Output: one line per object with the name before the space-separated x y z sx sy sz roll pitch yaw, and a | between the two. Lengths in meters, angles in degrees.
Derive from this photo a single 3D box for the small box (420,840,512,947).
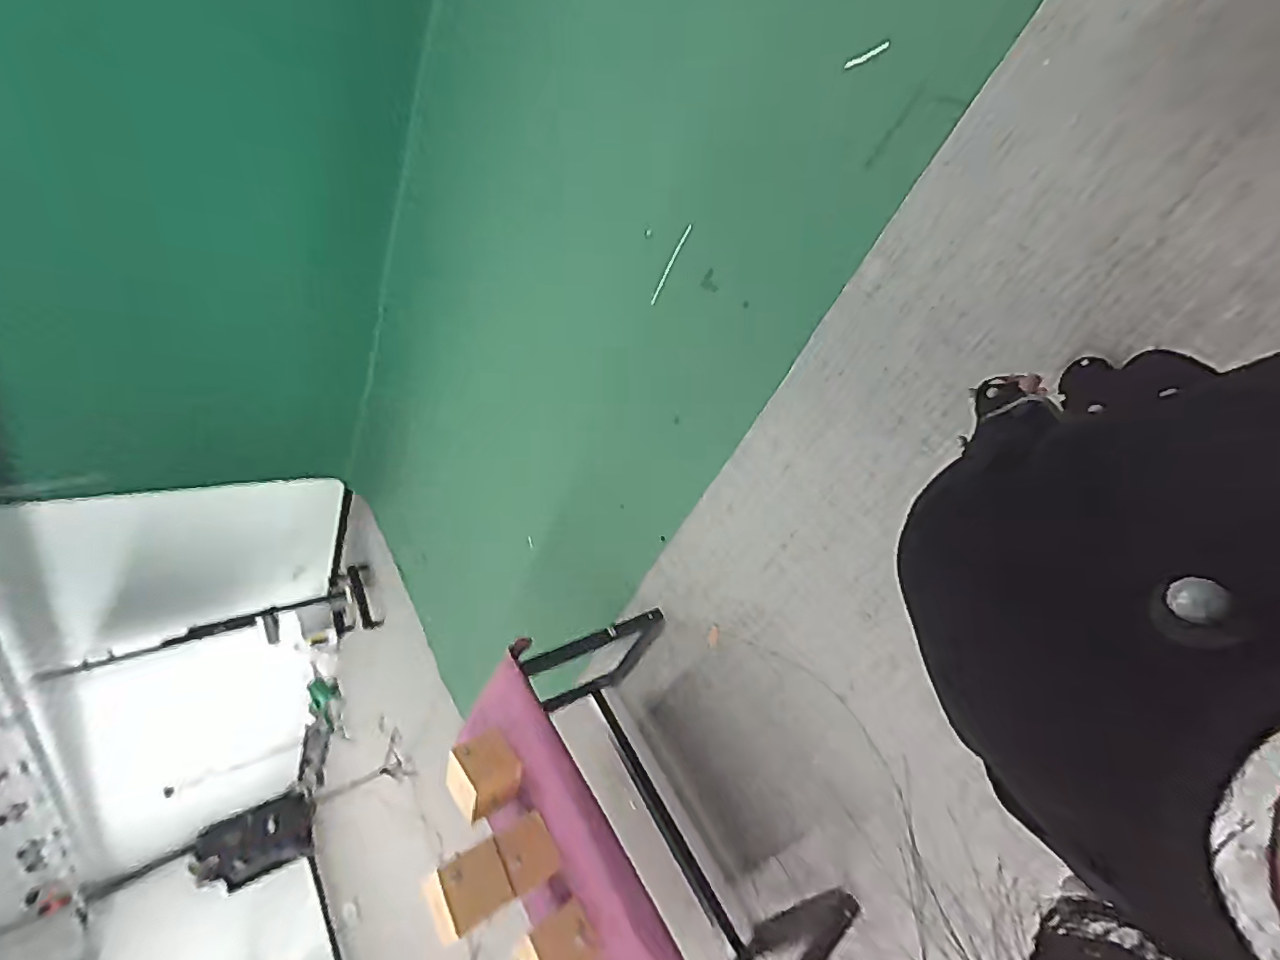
small box | -0.484 1.139 1.505 0.179 0.176 0.168 56 131 24

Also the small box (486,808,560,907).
small box | -0.368 1.132 1.621 0.179 0.176 0.168 56 130 25

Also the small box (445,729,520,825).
small box | -0.503 0.941 1.733 0.179 0.176 0.168 32 118 38

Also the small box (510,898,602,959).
small box | -0.233 1.322 1.507 0.168 0.176 0.179 49 127 29
